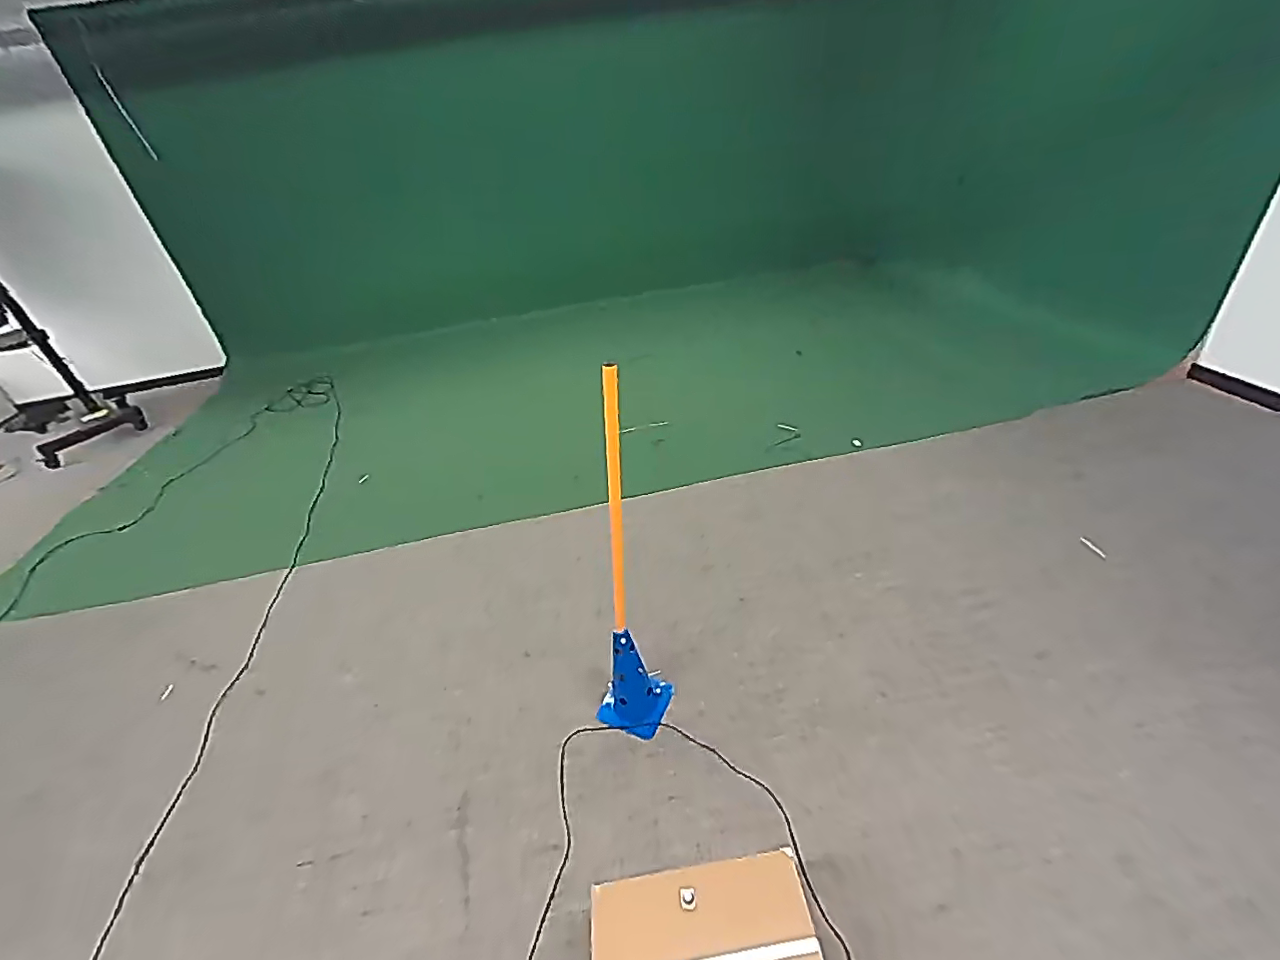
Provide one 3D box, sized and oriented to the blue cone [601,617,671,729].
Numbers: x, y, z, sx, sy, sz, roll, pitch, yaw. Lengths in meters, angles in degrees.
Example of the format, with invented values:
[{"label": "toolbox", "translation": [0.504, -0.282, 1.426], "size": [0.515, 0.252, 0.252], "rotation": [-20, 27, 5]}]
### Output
[{"label": "blue cone", "translation": [-0.031, 0.547, 1.612], "size": [0.192, 0.380, 0.193], "rotation": [9, 37, 22]}]
